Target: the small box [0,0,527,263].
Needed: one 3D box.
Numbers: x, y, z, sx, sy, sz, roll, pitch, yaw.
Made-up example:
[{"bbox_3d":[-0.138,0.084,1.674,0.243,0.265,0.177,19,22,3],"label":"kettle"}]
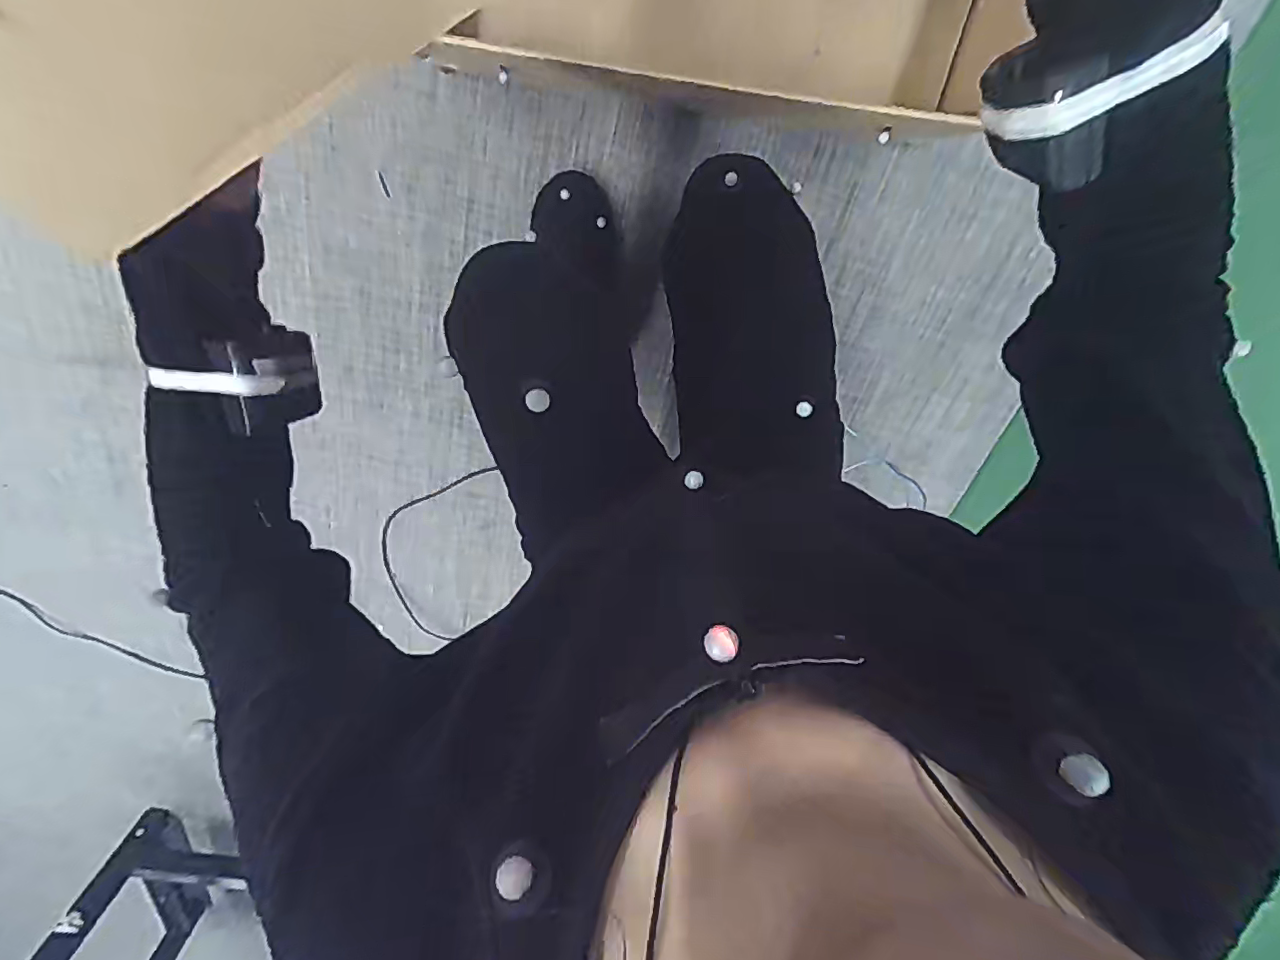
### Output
[{"bbox_3d":[-0.165,-0.213,0.168,0.179,0.176,0.168,-29,141,4],"label":"small box"}]
